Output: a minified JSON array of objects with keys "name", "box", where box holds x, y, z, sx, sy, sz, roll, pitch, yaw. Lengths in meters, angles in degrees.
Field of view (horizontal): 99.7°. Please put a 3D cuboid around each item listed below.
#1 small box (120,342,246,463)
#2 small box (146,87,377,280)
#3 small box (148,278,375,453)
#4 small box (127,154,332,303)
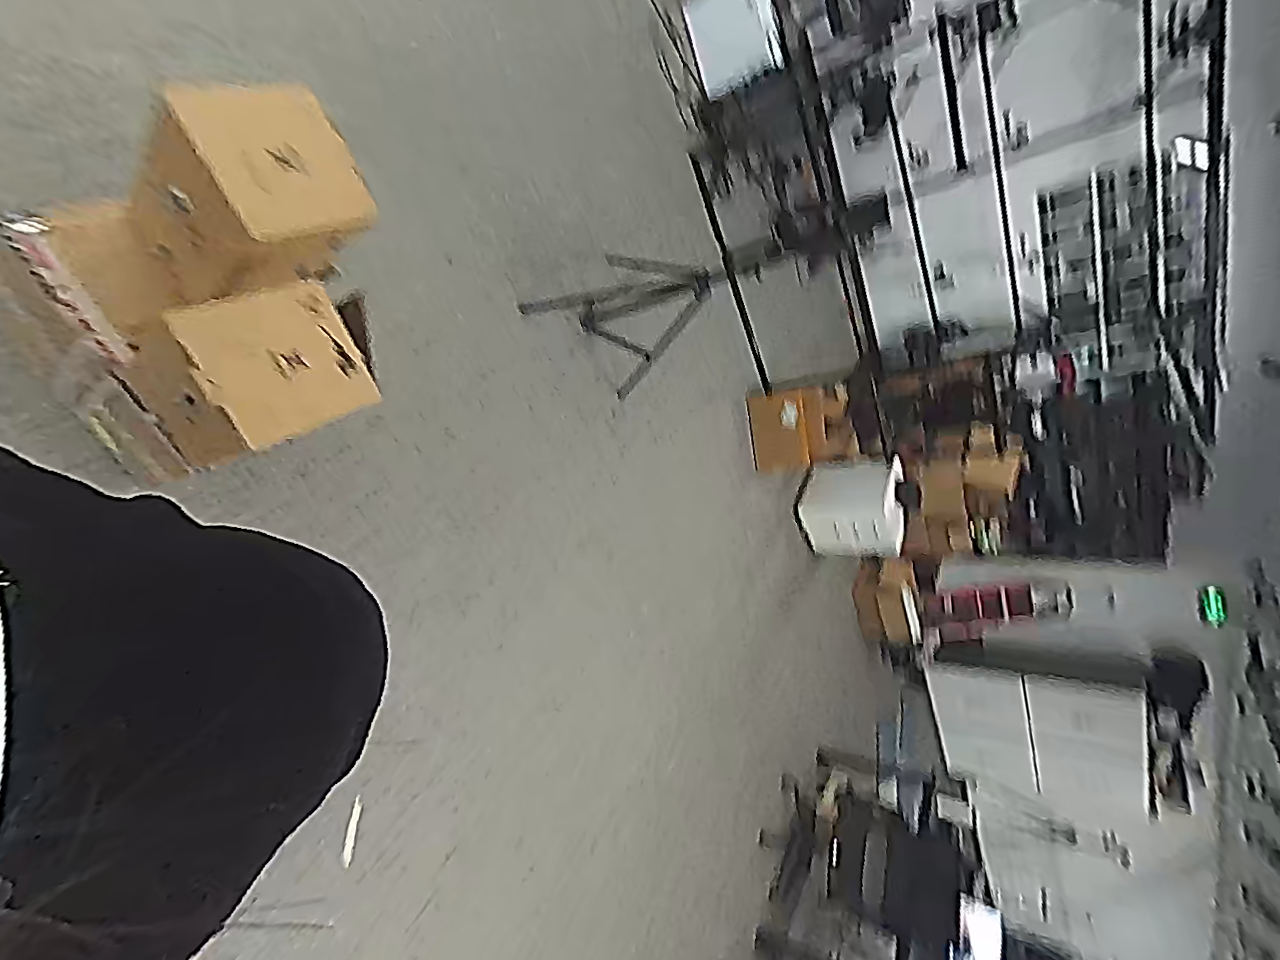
[{"name":"small box","box":[-0.621,-0.138,0.813,0.179,0.176,0.168,-43,120,-41]},{"name":"small box","box":[-0.502,-0.390,0.721,0.179,0.176,0.168,-43,117,-42]},{"name":"small box","box":[-0.496,-0.144,0.707,0.179,0.176,0.168,-39,116,-43]},{"name":"small box","box":[-0.625,-0.380,0.827,0.179,0.176,0.168,-43,118,-42]}]
